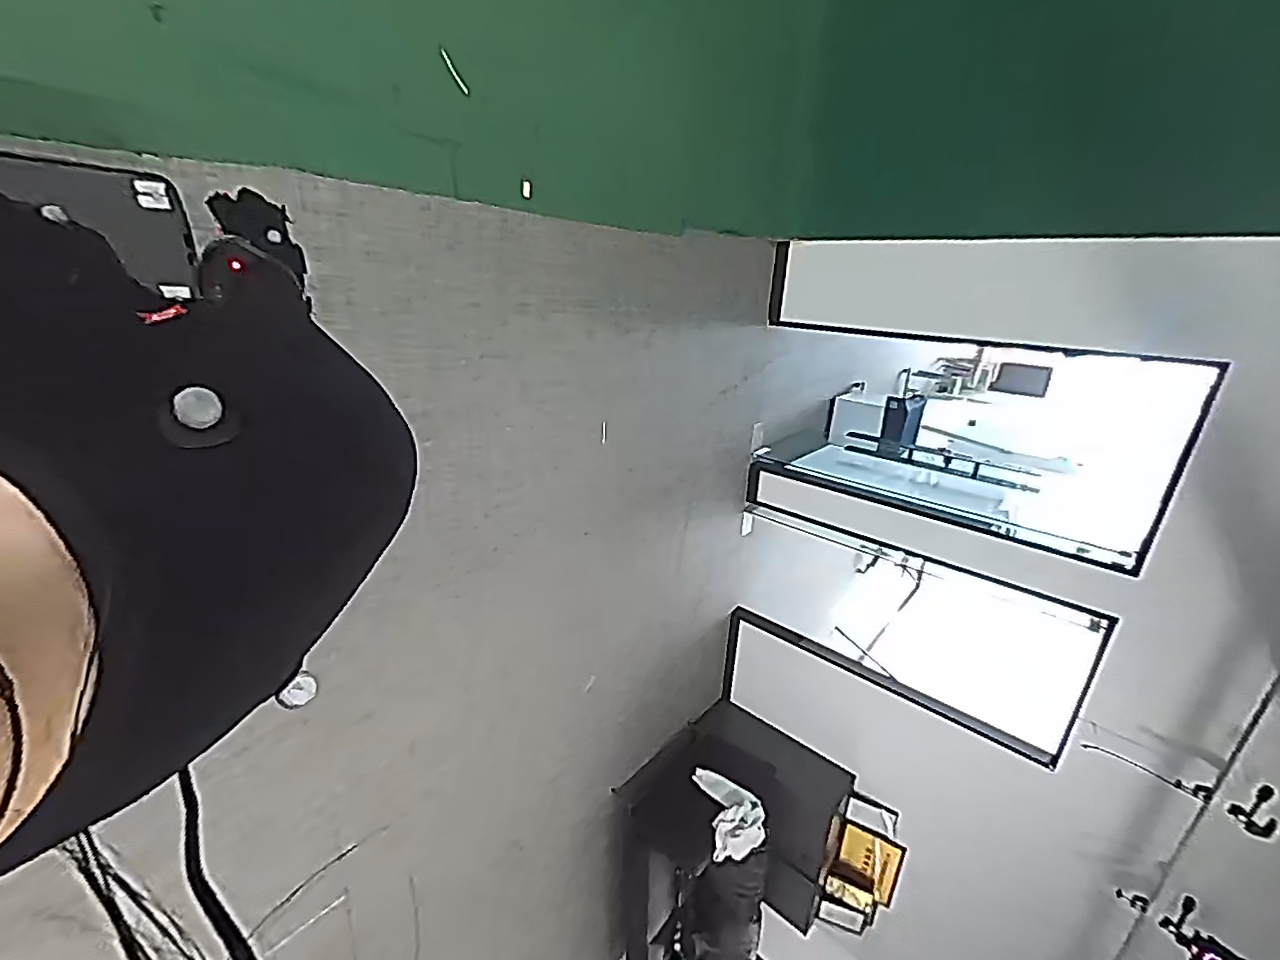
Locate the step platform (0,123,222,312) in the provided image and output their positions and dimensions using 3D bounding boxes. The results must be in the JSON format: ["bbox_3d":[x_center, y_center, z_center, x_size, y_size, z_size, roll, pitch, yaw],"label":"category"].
[{"bbox_3d":[-1.069,-0.401,0.803,0.684,0.204,0.286,-19,121,-45],"label":"step platform"}]
